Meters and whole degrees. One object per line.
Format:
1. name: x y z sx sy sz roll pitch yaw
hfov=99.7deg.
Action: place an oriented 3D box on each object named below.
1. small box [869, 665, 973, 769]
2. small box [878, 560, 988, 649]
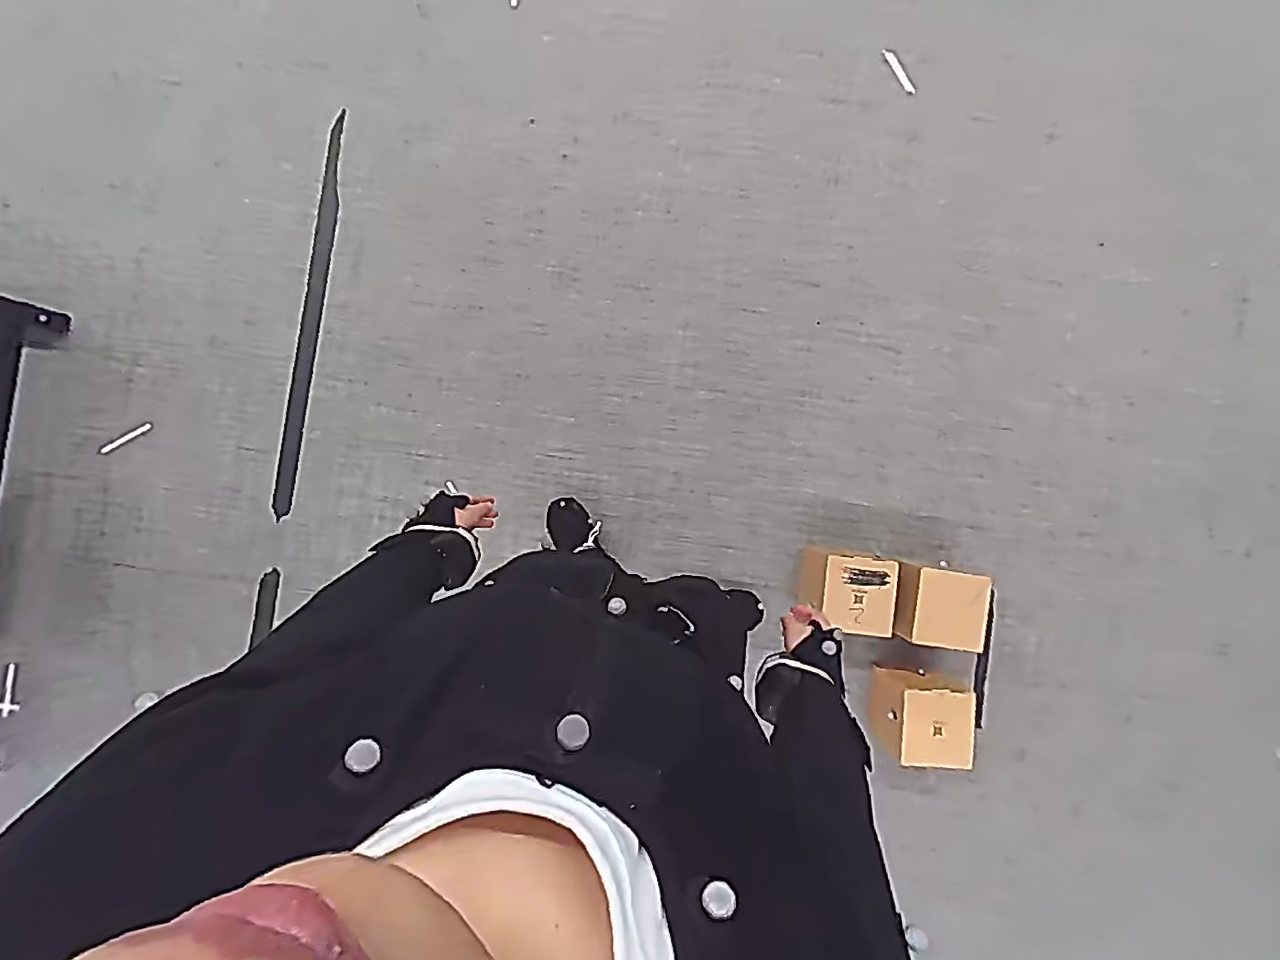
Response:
1. small box: 0.672 0.568 1.312 0.168 0.176 0.179 4 89 -1
2. small box: 0.705 0.299 1.311 0.168 0.176 0.179 9 90 -1
